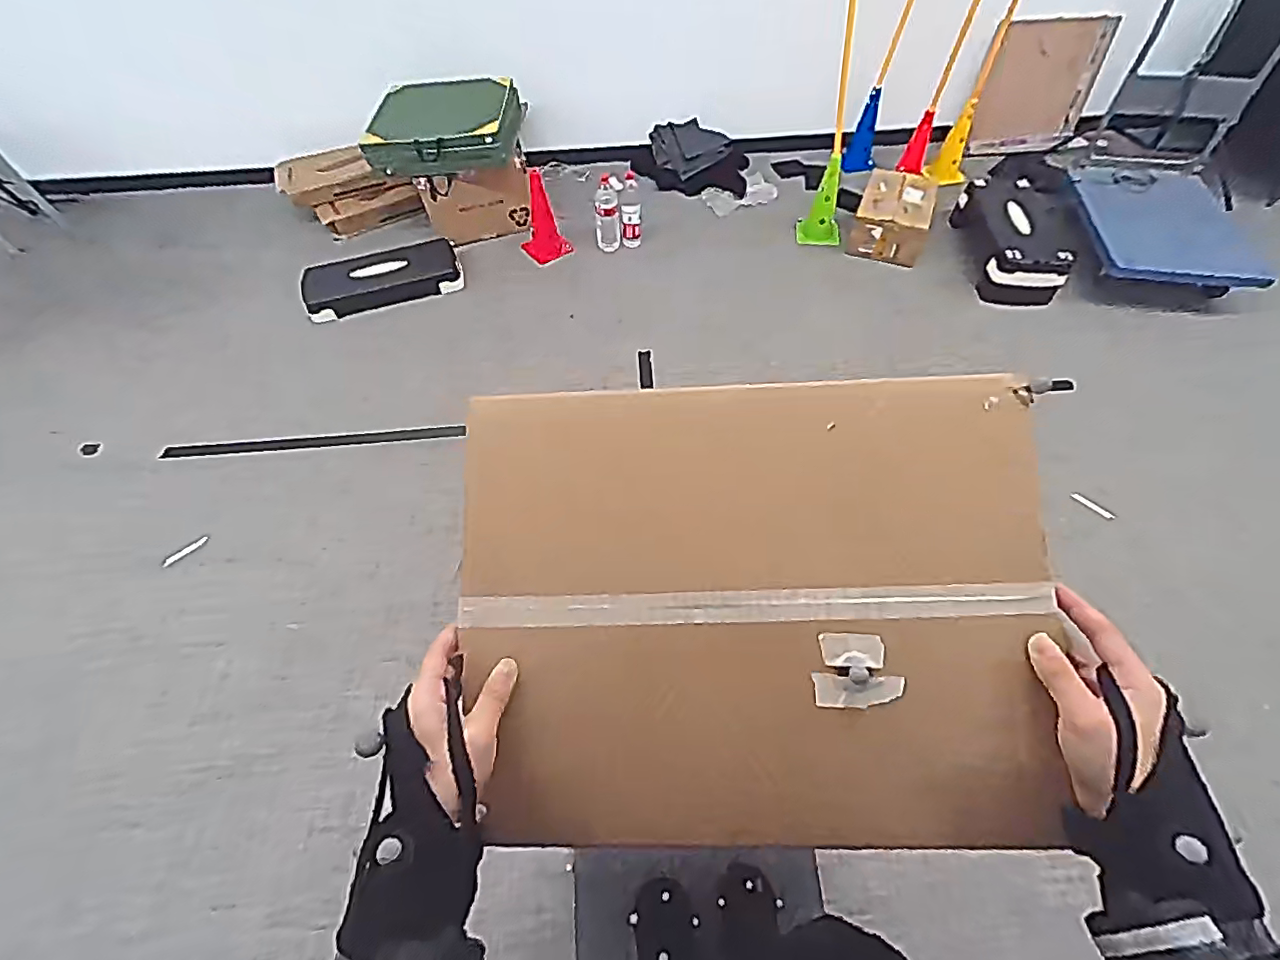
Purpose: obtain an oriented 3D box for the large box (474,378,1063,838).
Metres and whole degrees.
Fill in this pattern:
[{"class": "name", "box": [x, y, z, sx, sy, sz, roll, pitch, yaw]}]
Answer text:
[{"class": "large box", "box": [0.083, 0.107, 0.533, 0.408, 0.320, 0.320, -2, 82, 3]}]
